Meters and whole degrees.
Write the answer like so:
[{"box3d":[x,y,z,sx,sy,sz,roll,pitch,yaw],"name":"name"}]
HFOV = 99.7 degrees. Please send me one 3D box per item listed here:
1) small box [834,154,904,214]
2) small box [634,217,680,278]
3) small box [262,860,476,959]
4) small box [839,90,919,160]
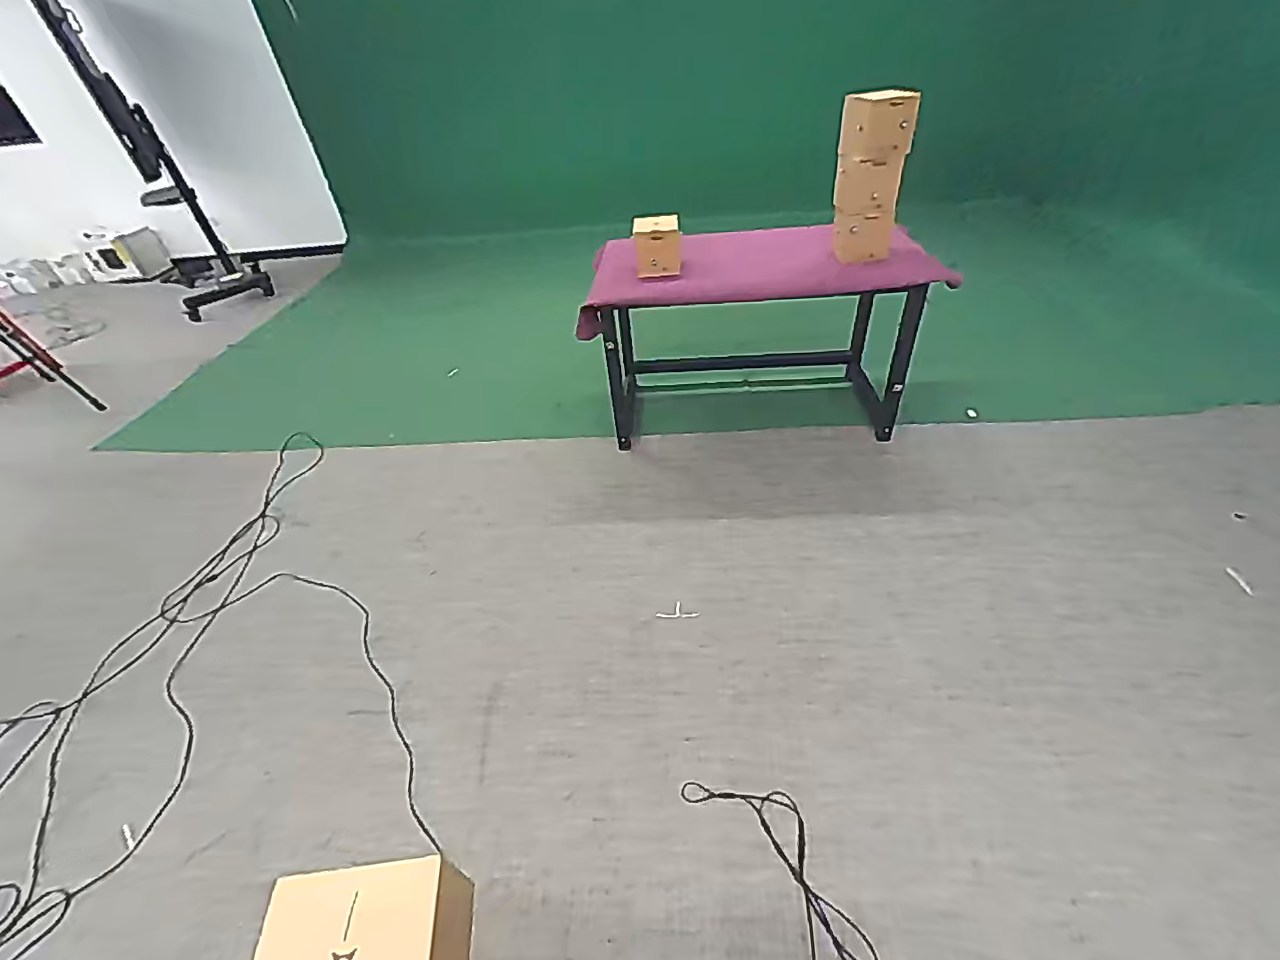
[{"box3d":[0.788,-1.040,1.884,0.168,0.176,0.179,-4,40,4],"name":"small box"},{"box3d":[0.065,-0.887,2.063,0.168,0.176,0.179,-3,42,4],"name":"small box"},{"box3d":[-0.275,0.522,0.560,0.168,0.176,0.179,-5,45,-5],"name":"small box"},{"box3d":[0.780,-1.164,1.779,0.168,0.176,0.179,-11,40,-5],"name":"small box"}]
